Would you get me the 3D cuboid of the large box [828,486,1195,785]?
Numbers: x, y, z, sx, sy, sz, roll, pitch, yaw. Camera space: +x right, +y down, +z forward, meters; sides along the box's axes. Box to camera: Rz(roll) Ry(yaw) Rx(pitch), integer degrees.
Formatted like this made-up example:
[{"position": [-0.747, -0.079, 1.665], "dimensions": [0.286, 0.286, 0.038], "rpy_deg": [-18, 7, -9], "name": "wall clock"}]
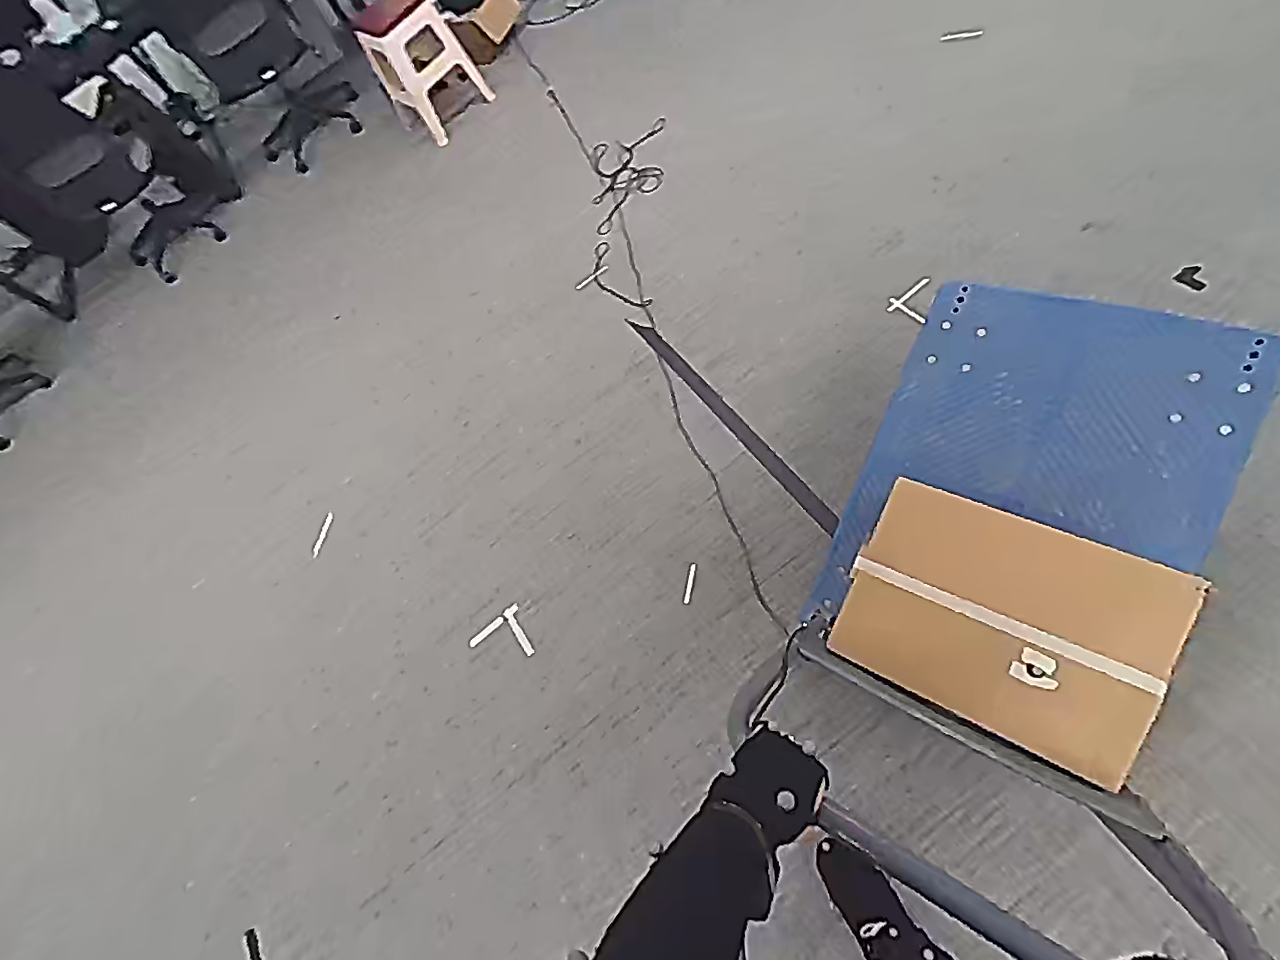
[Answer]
[{"position": [0.596, 0.237, 0.958], "dimensions": [0.408, 0.320, 0.320], "rpy_deg": [23, 93, 26], "name": "large box"}]
